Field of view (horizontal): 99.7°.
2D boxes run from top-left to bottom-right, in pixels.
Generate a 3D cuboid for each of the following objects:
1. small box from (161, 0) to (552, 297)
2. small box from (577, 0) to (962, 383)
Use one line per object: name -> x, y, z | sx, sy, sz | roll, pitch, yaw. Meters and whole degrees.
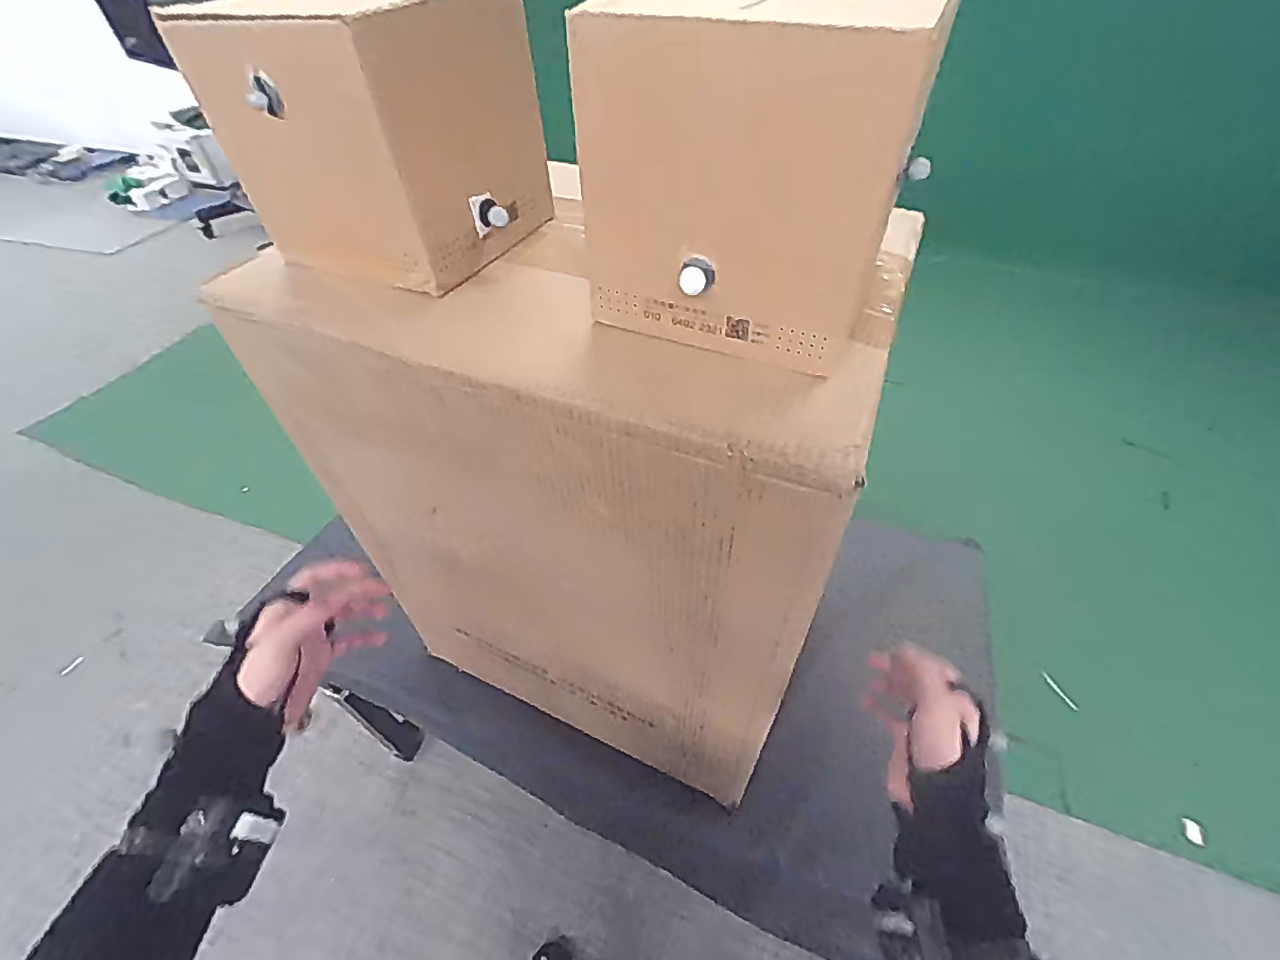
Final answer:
small box -> -0.192, -0.265, 0.421 | 0.179, 0.176, 0.168 | 19, 52, 18
small box -> 0.076, -0.193, 0.343 | 0.168, 0.176, 0.179 | 19, 52, 17
